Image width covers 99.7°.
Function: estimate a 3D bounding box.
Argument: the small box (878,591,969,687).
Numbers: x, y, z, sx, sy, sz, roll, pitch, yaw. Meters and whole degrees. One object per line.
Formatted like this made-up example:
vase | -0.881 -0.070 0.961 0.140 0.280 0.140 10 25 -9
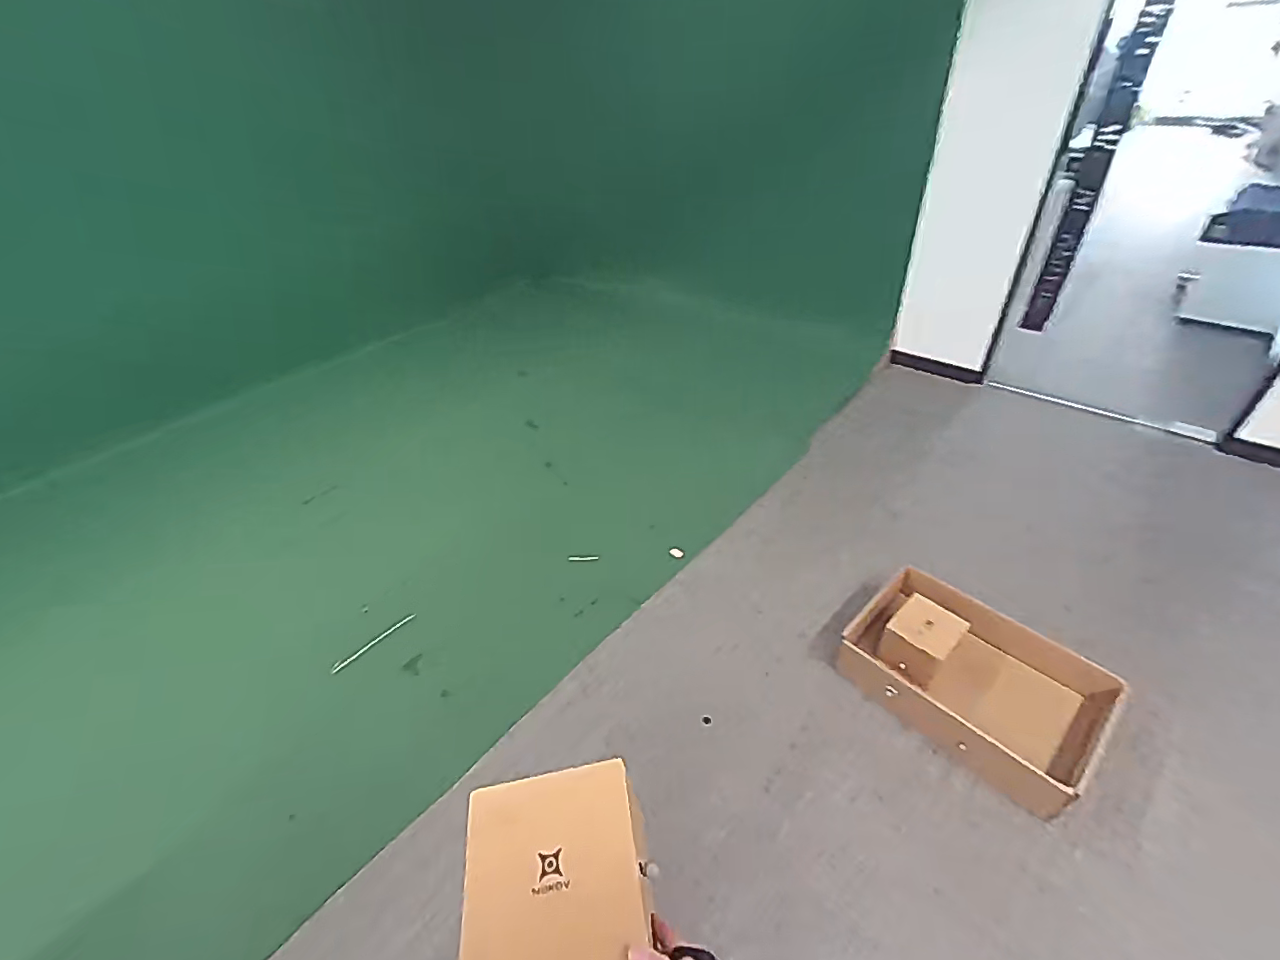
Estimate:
small box | 0.841 0.475 1.618 0.179 0.176 0.168 -33 46 -28
